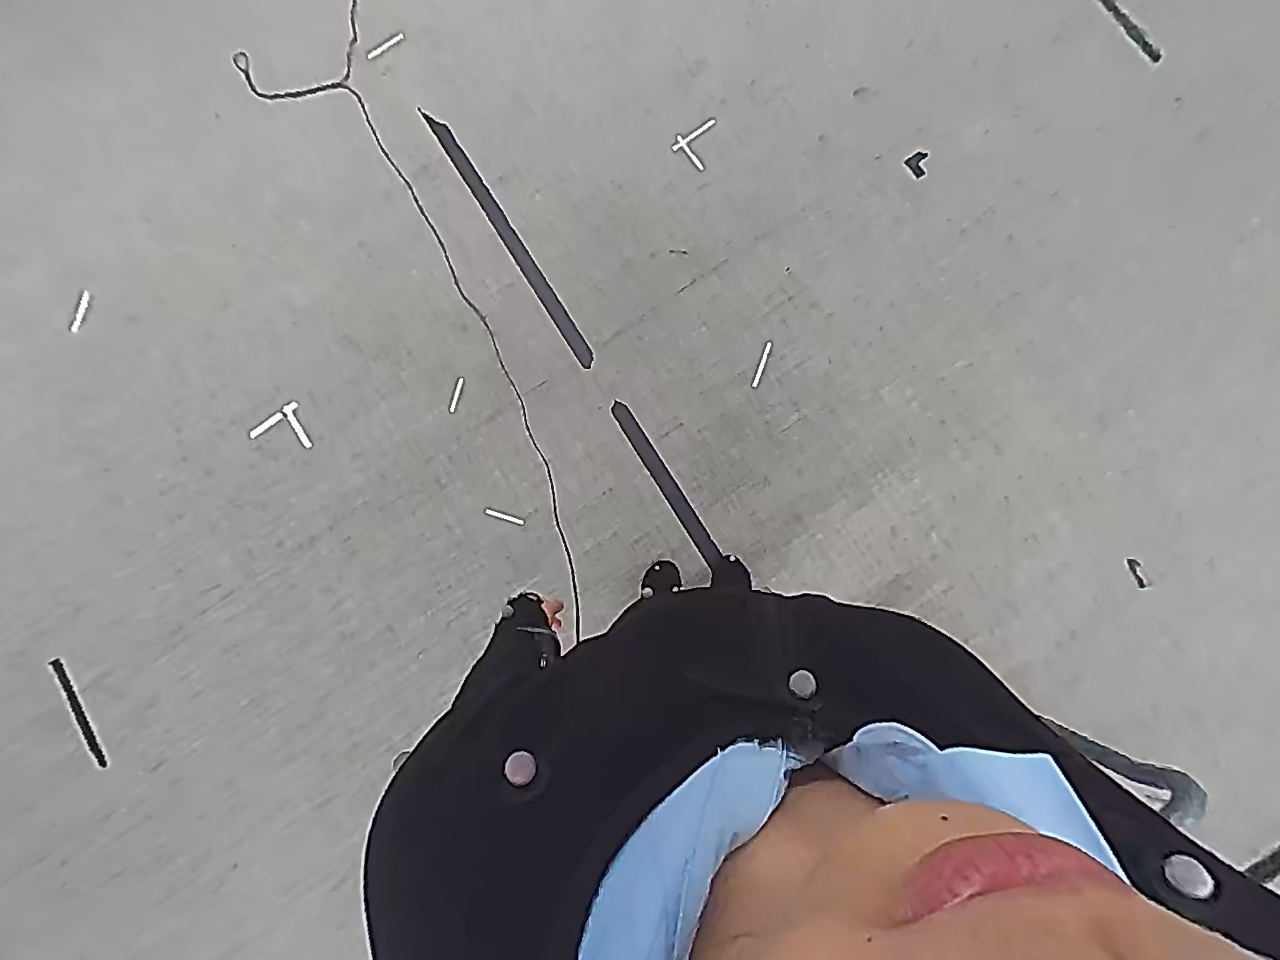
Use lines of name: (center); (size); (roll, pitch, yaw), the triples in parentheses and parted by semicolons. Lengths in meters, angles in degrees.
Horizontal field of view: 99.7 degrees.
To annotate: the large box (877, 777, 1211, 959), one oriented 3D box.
large box: (0.760, 0.882, 1.049); (0.408, 0.320, 0.320); (-36, 82, -1)
